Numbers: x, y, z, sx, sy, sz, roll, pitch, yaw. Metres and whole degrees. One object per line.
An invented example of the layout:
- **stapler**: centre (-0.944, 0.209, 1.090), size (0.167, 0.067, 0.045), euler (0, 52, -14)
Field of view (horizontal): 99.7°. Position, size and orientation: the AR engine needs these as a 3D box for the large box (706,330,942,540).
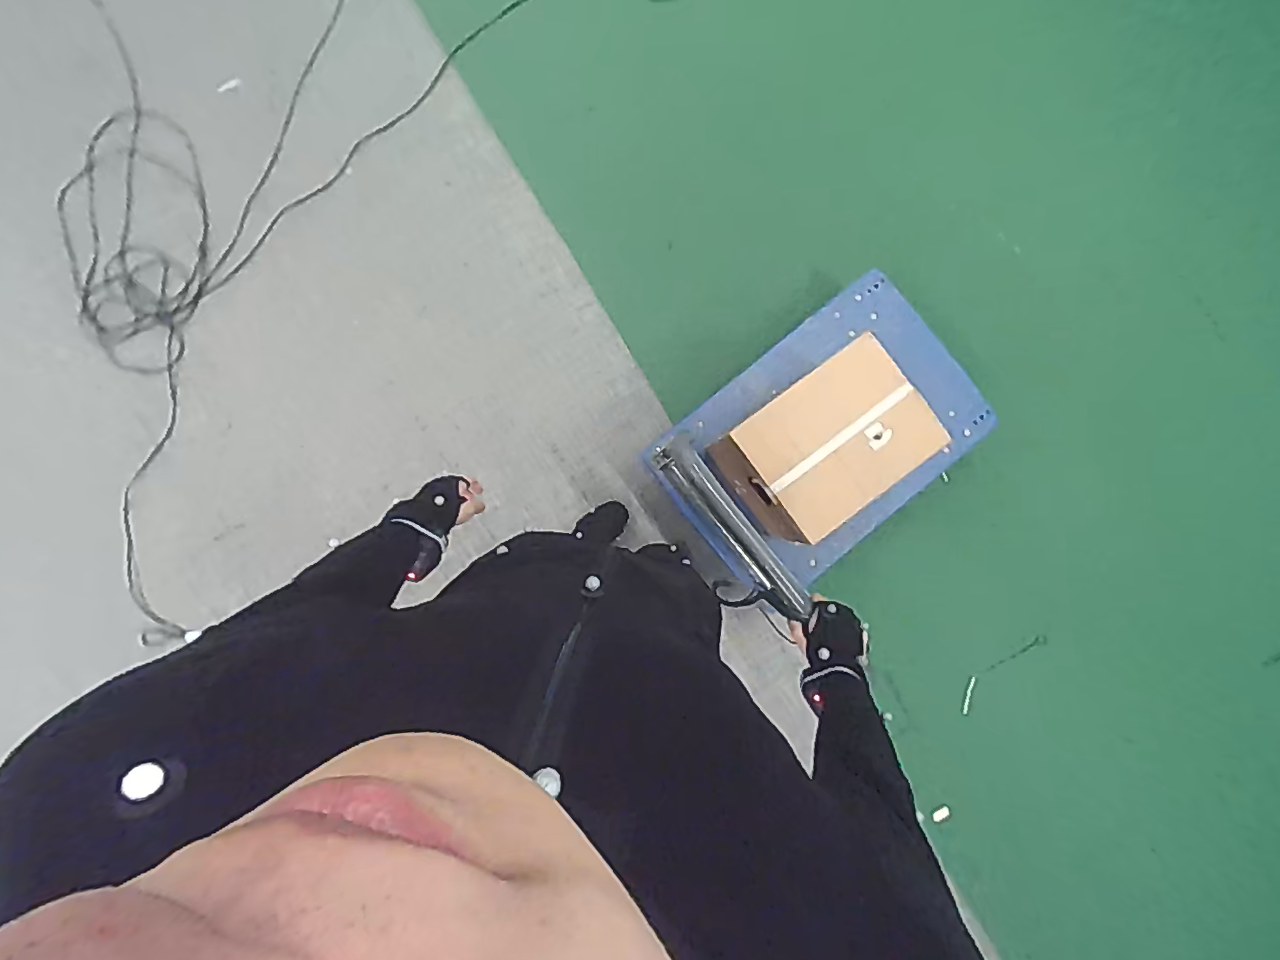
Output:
- **large box**: centre (0.430, -0.094, 1.356), size (0.408, 0.320, 0.320), euler (-36, 90, -4)
